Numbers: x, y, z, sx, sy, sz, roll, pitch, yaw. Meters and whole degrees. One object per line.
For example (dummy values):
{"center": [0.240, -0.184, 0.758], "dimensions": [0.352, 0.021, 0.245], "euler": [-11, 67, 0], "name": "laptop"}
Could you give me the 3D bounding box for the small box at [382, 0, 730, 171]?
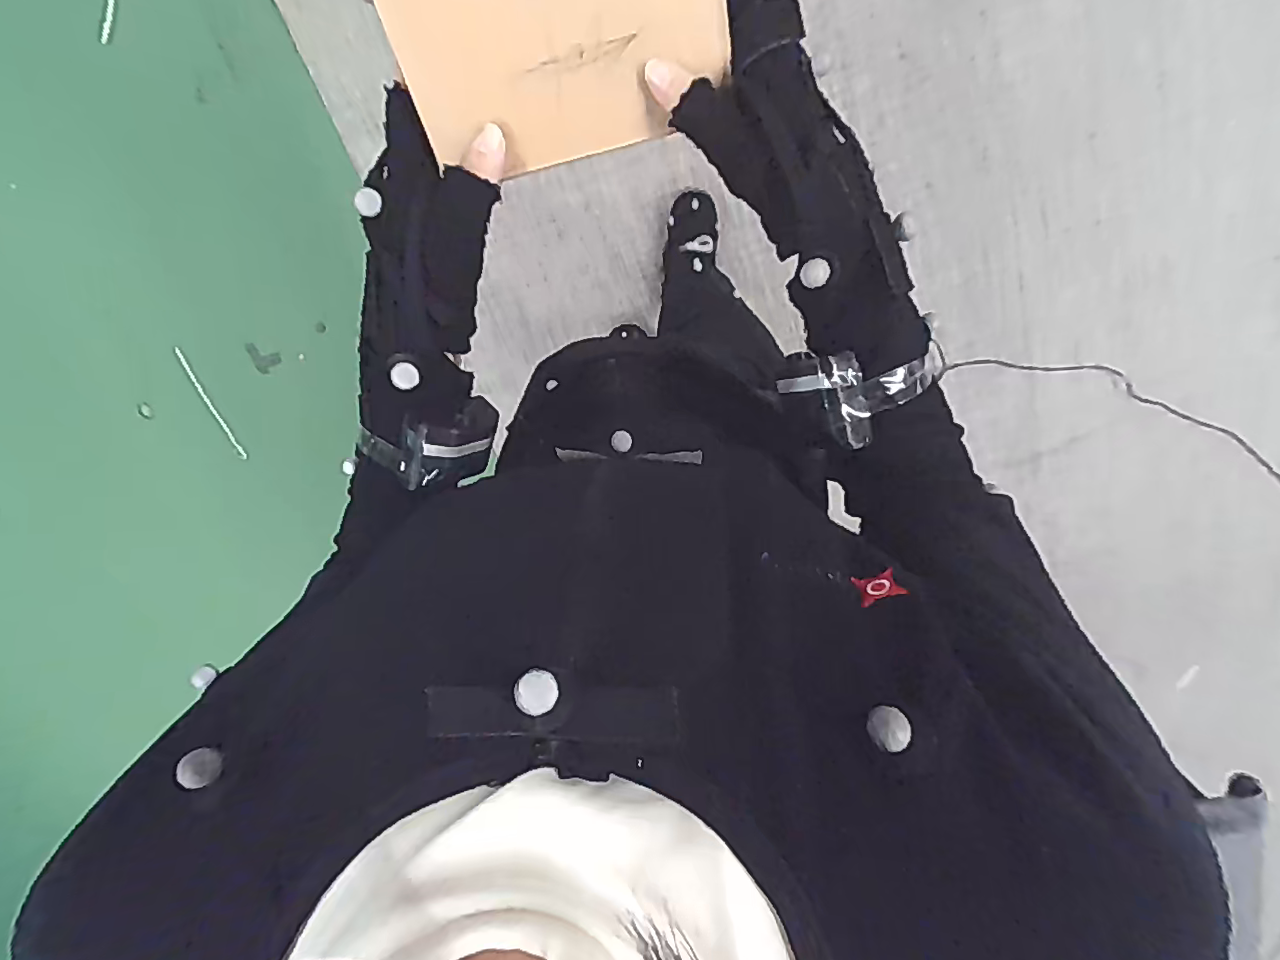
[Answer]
{"center": [-0.056, -0.306, 0.307], "dimensions": [0.168, 0.176, 0.179], "euler": [-14, 130, 4], "name": "small box"}
